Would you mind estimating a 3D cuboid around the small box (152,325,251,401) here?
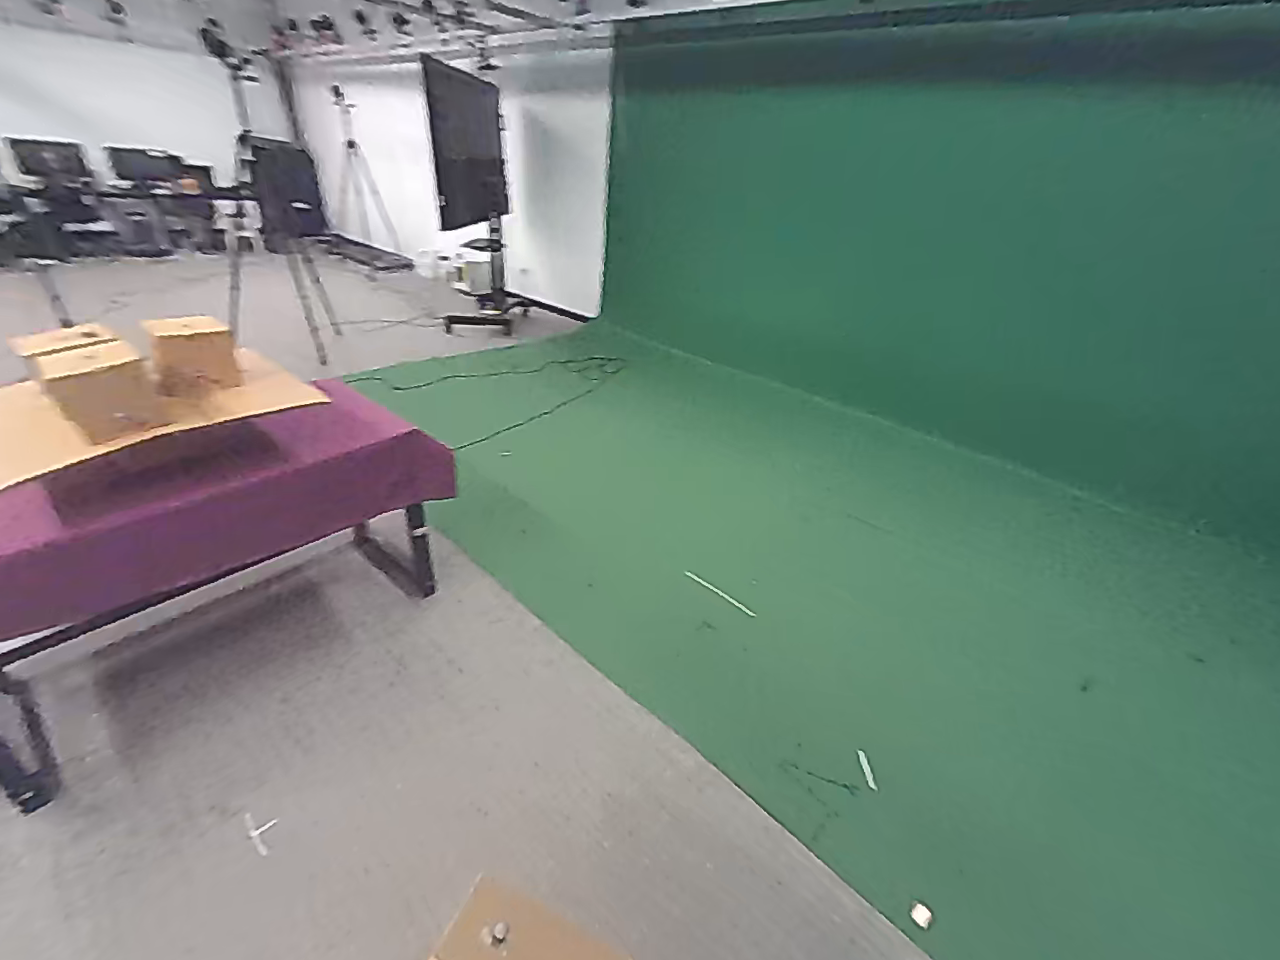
[{"bbox_3d":[-1.259,-0.338,1.557,0.179,0.176,0.168,28,35,33],"label":"small box"}]
